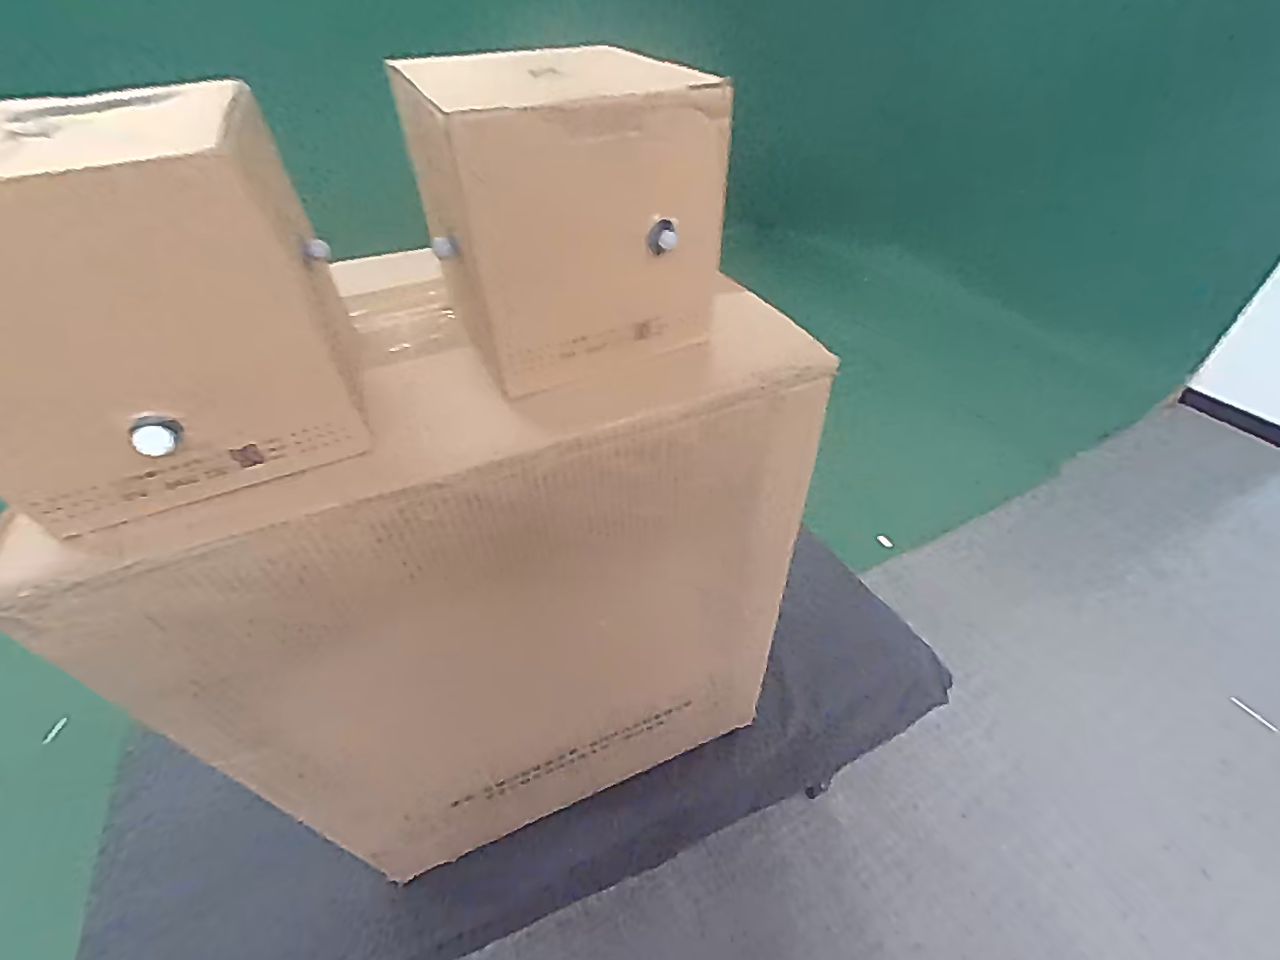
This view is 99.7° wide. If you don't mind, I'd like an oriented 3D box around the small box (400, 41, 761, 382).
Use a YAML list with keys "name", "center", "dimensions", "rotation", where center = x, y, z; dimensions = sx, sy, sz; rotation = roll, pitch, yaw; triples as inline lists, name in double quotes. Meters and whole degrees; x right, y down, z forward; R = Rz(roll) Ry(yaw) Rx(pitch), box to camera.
- name: "small box"
  center: [-0.044, -0.184, 0.376]
  dimensions: [0.168, 0.176, 0.179]
  rotation: [-19, 48, -21]
